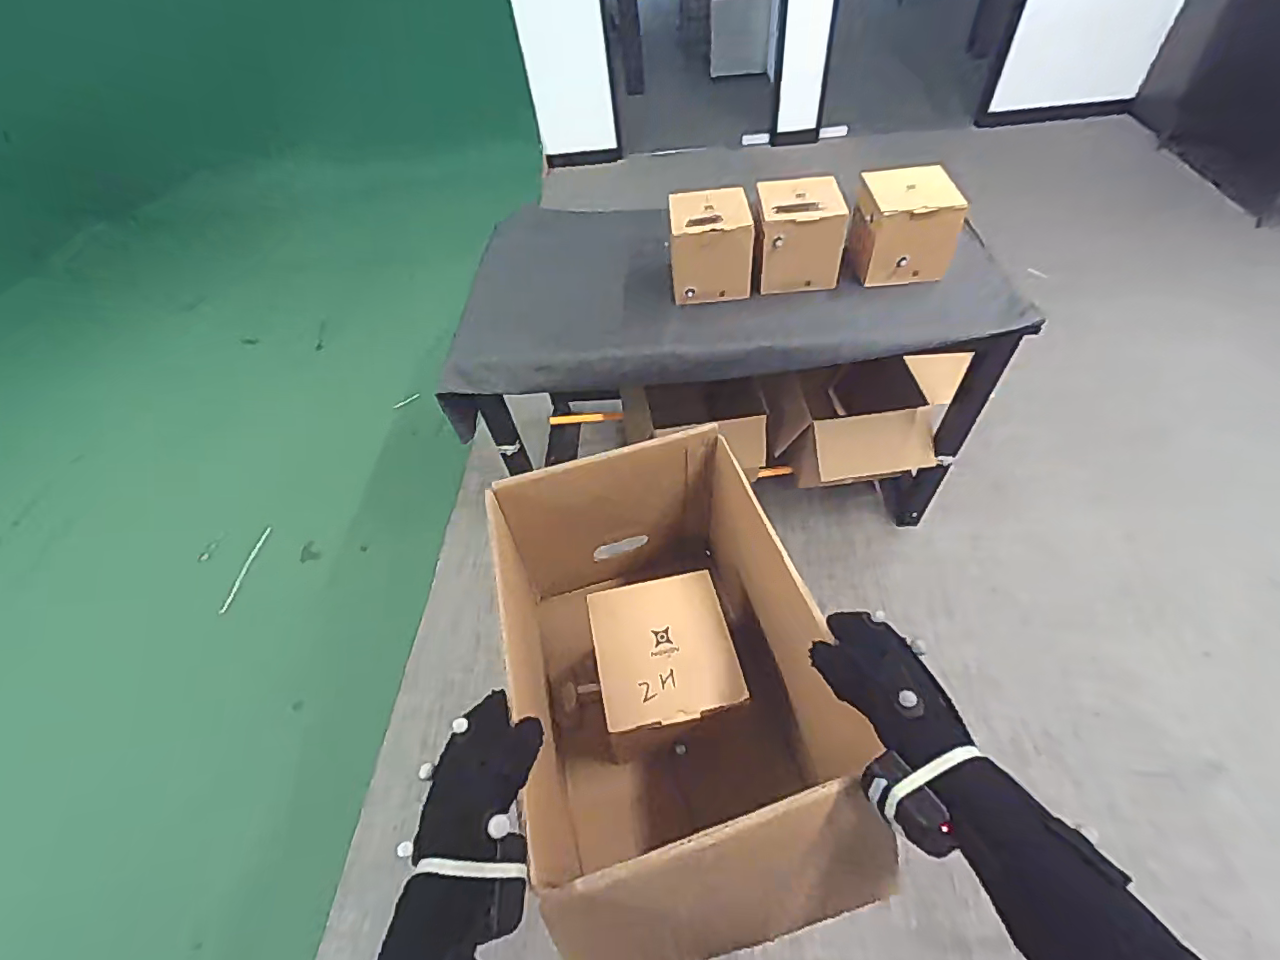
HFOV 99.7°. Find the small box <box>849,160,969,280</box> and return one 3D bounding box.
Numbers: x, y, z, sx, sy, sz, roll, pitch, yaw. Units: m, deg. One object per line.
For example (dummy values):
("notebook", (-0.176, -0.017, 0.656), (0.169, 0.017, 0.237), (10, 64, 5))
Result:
("small box", (0.562, -0.556, 1.162), (0.168, 0.176, 0.179), (-4, 53, 5))

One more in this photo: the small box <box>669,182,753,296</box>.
("small box", (0.153, -0.522, 1.190), (0.168, 0.176, 0.179), (-4, 52, 4))
